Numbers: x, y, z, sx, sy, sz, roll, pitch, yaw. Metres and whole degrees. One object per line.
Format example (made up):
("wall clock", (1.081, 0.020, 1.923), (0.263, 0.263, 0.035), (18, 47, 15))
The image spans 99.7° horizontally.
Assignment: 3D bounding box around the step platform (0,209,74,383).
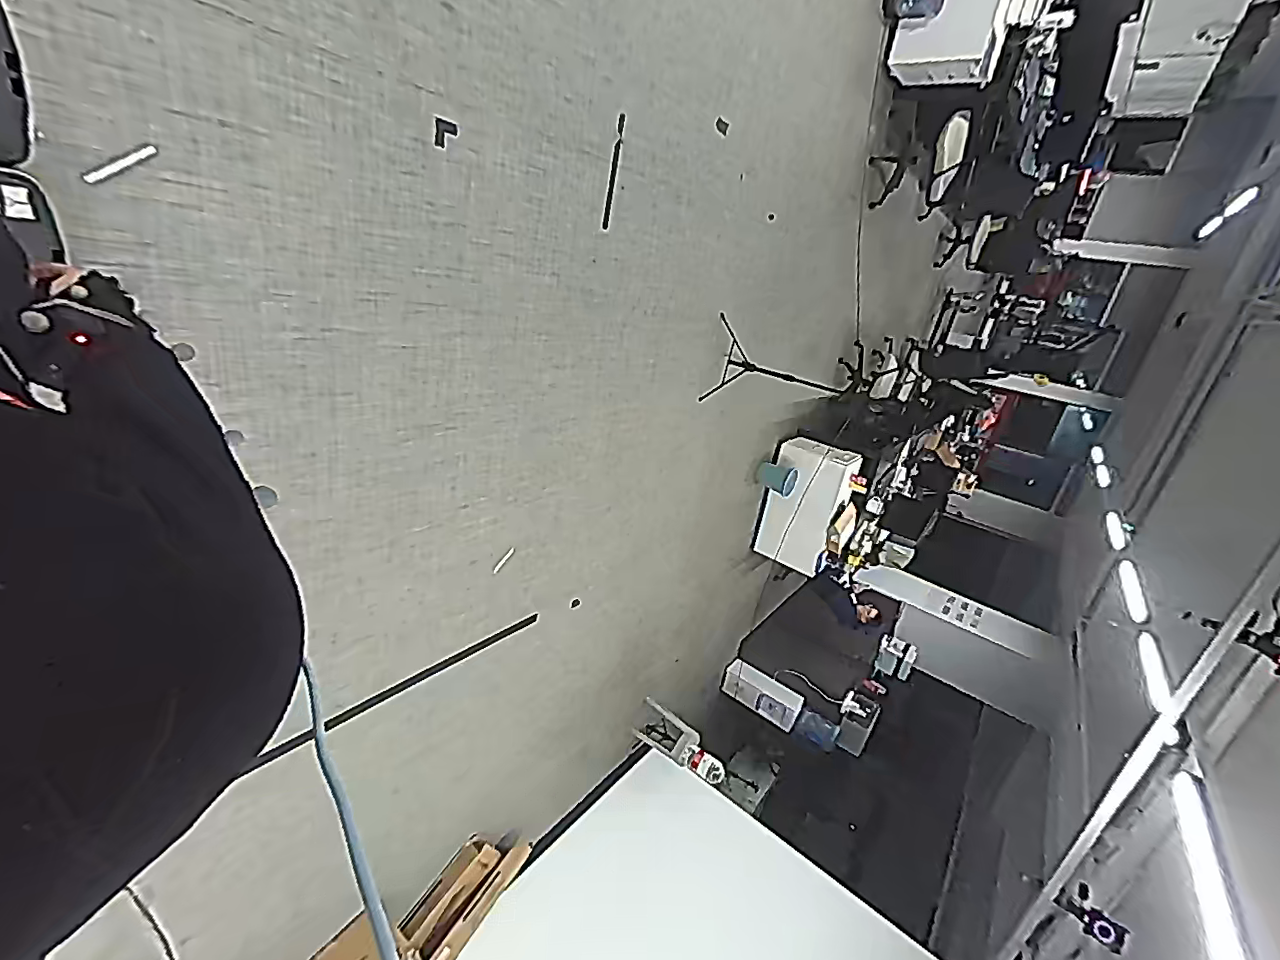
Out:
("step platform", (-1.269, -0.295, 0.742), (0.684, 0.204, 0.286), (-9, 116, -52))
